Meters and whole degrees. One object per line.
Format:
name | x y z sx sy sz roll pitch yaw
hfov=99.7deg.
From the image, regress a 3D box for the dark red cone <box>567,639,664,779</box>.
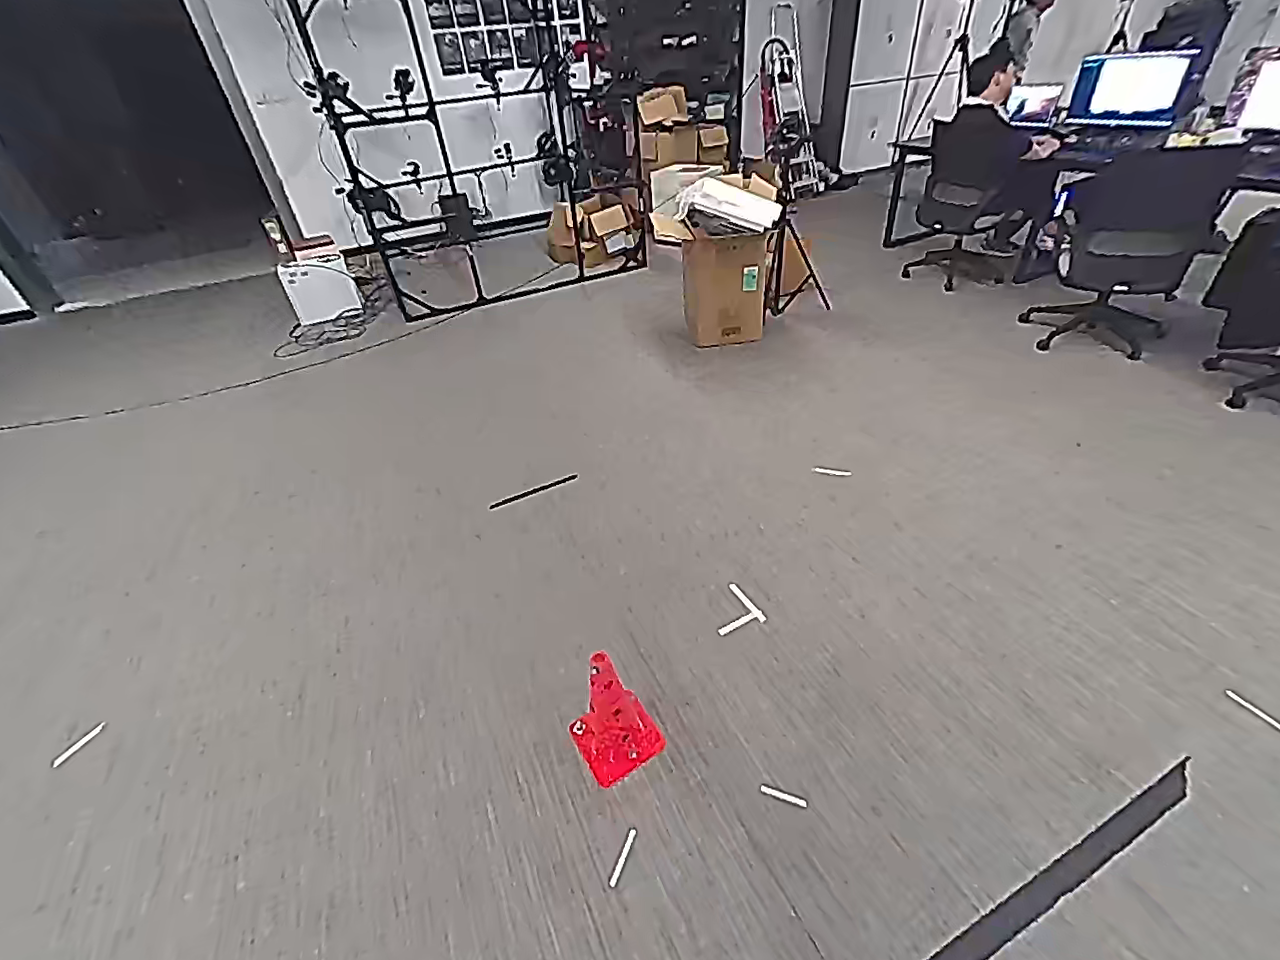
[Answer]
dark red cone | -0.078 0.517 1.300 0.202 0.394 0.201 -25 43 -24
